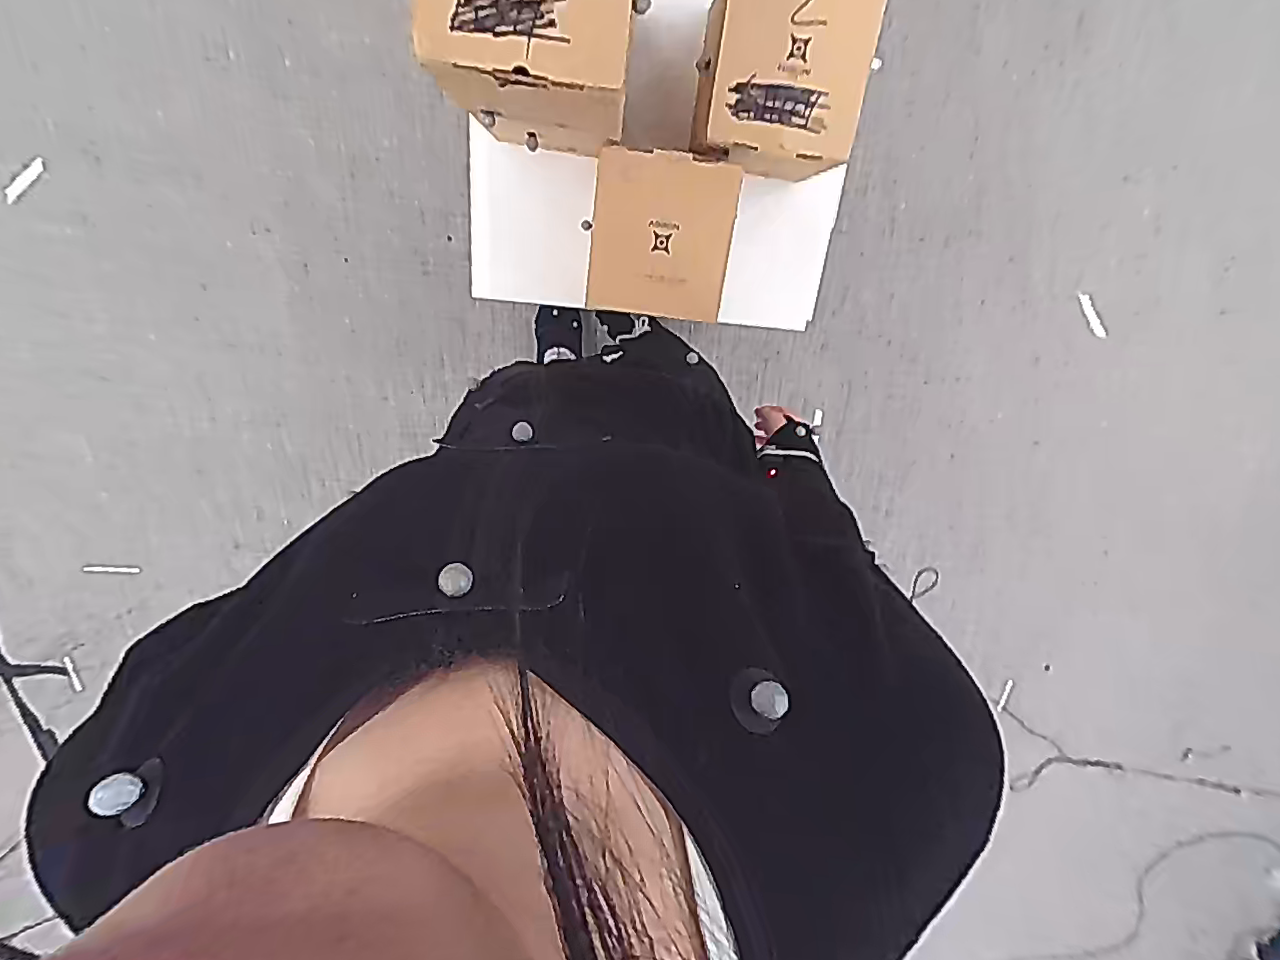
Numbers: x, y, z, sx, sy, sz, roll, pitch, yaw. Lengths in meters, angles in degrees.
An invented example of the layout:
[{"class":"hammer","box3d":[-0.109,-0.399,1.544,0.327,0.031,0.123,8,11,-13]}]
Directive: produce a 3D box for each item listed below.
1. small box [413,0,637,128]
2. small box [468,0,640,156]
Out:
[{"class":"small box","box3d":[-0.085,-0.429,0.465,0.168,0.176,0.179,6,111,-6]},{"class":"small box","box3d":[-0.091,-0.491,0.618,0.168,0.176,0.179,7,112,-6]}]
